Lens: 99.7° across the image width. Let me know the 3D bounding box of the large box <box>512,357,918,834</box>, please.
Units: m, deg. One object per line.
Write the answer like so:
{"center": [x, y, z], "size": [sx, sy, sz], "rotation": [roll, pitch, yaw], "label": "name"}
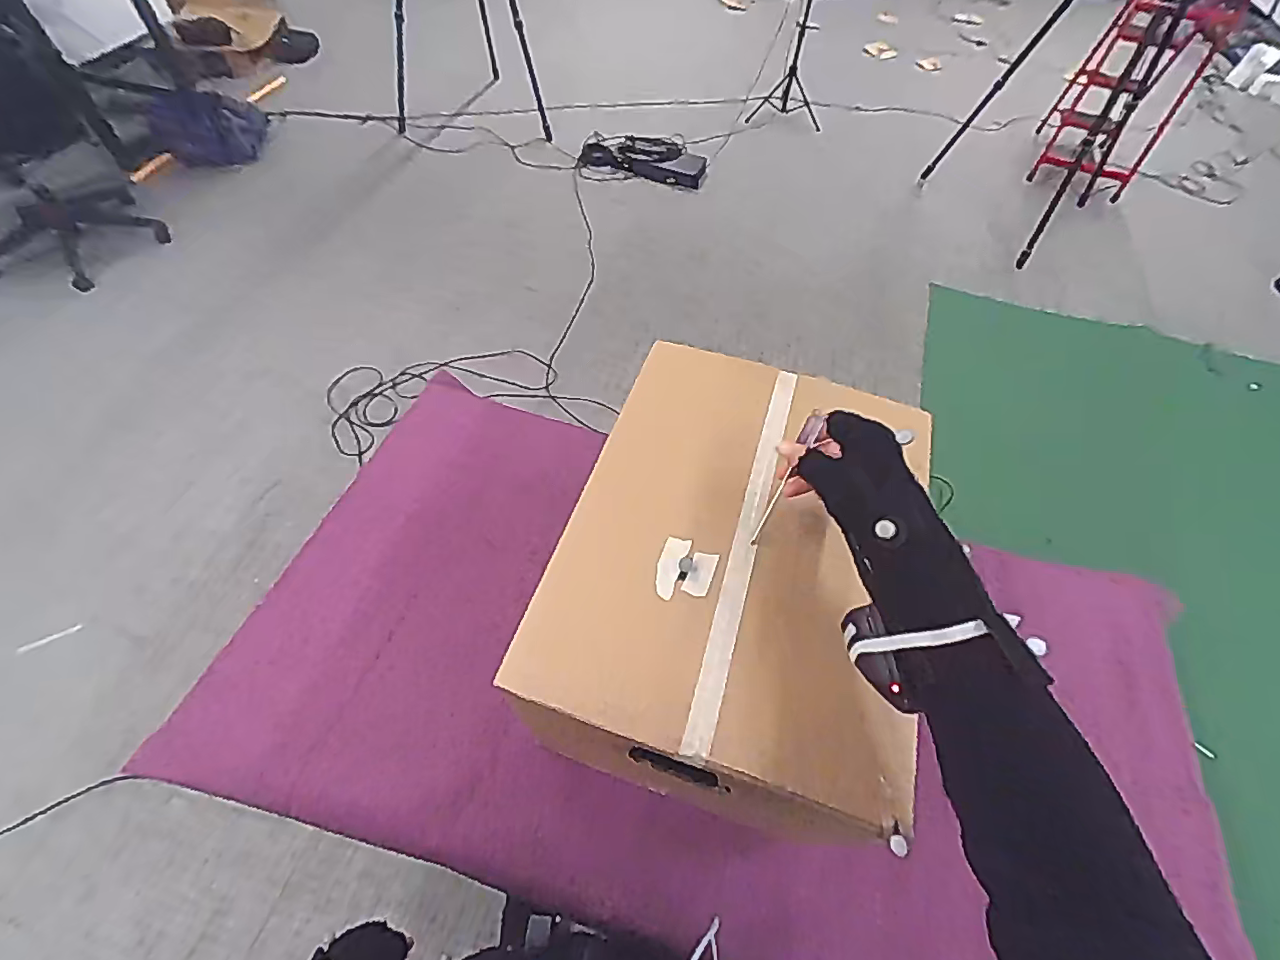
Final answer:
{"center": [0.091, 0.134, 0.636], "size": [0.320, 0.320, 0.408], "rotation": [18, 58, 8], "label": "large box"}
